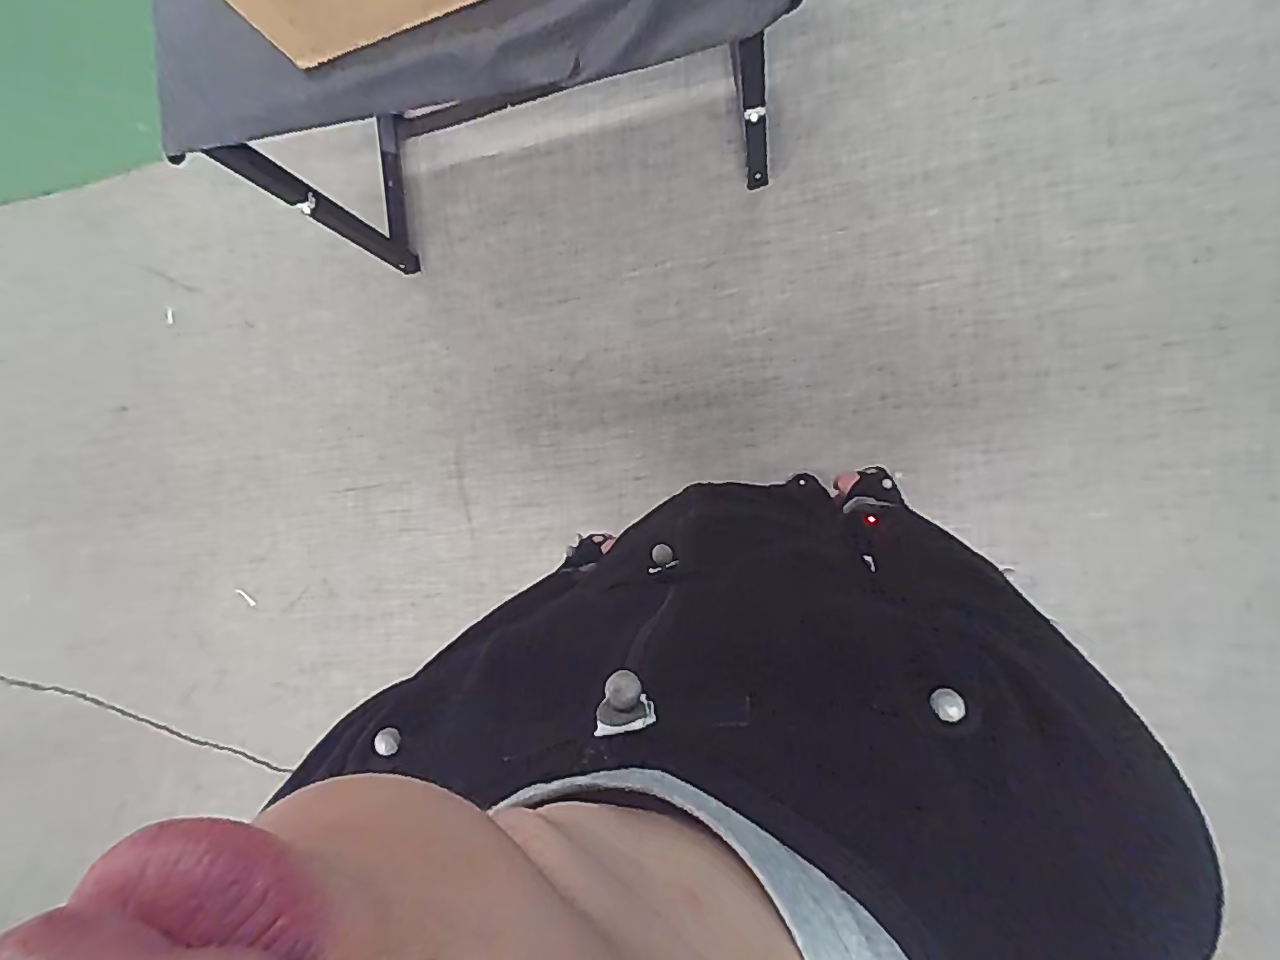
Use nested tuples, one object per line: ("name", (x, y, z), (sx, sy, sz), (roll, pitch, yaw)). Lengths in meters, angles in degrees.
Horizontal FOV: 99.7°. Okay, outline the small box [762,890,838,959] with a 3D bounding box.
("small box", (0.412, 1.195, 1.378), (0.168, 0.176, 0.179), (-13, 85, 12))
